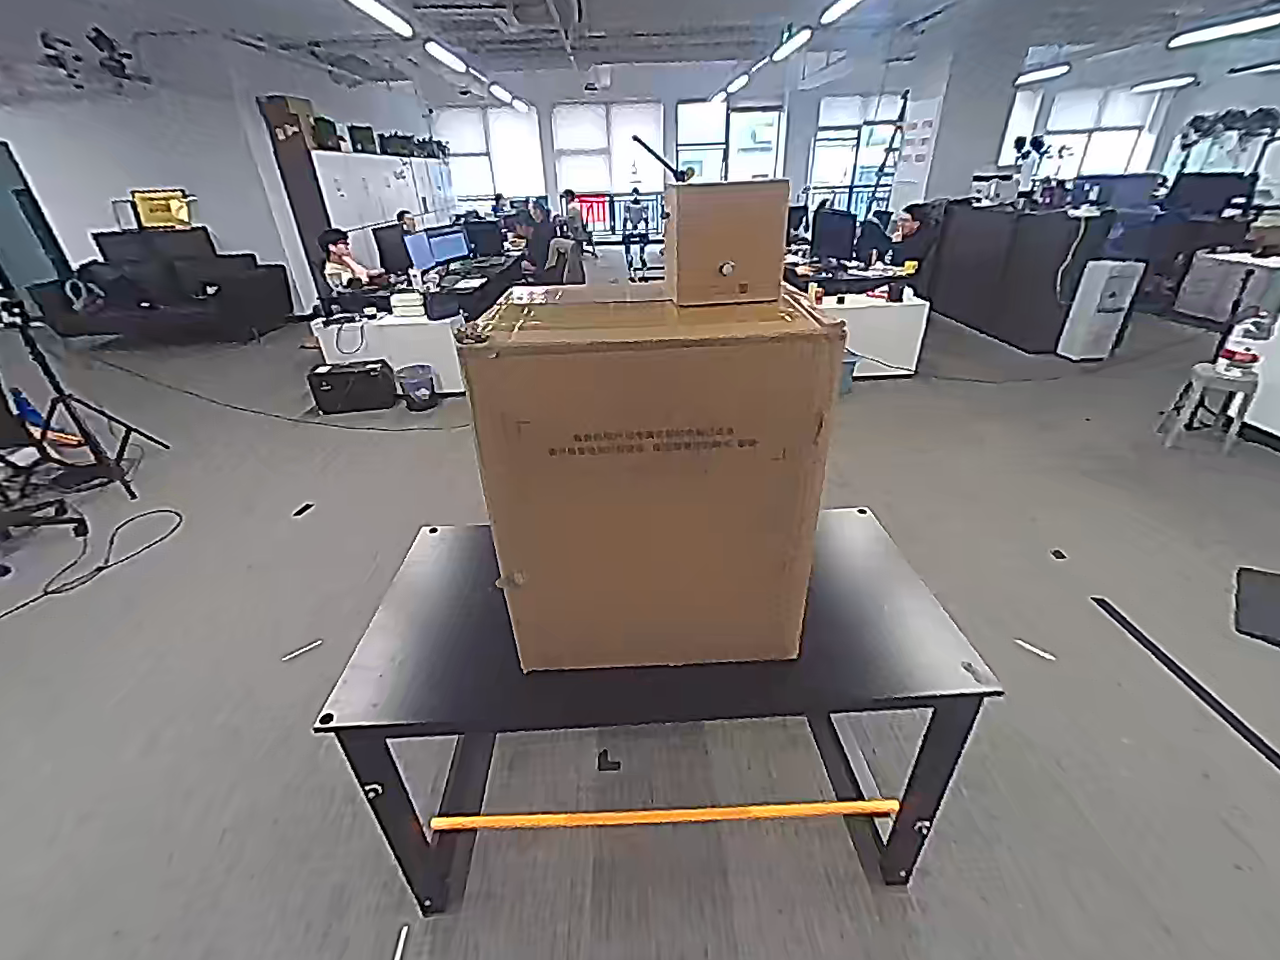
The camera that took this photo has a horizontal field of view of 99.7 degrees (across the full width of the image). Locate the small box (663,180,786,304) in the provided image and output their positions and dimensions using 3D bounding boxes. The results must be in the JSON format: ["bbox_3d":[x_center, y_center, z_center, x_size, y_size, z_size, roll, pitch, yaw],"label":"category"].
[{"bbox_3d":[0.125,-0.385,0.876,0.168,0.176,0.179,-5,29,-2],"label":"small box"}]
